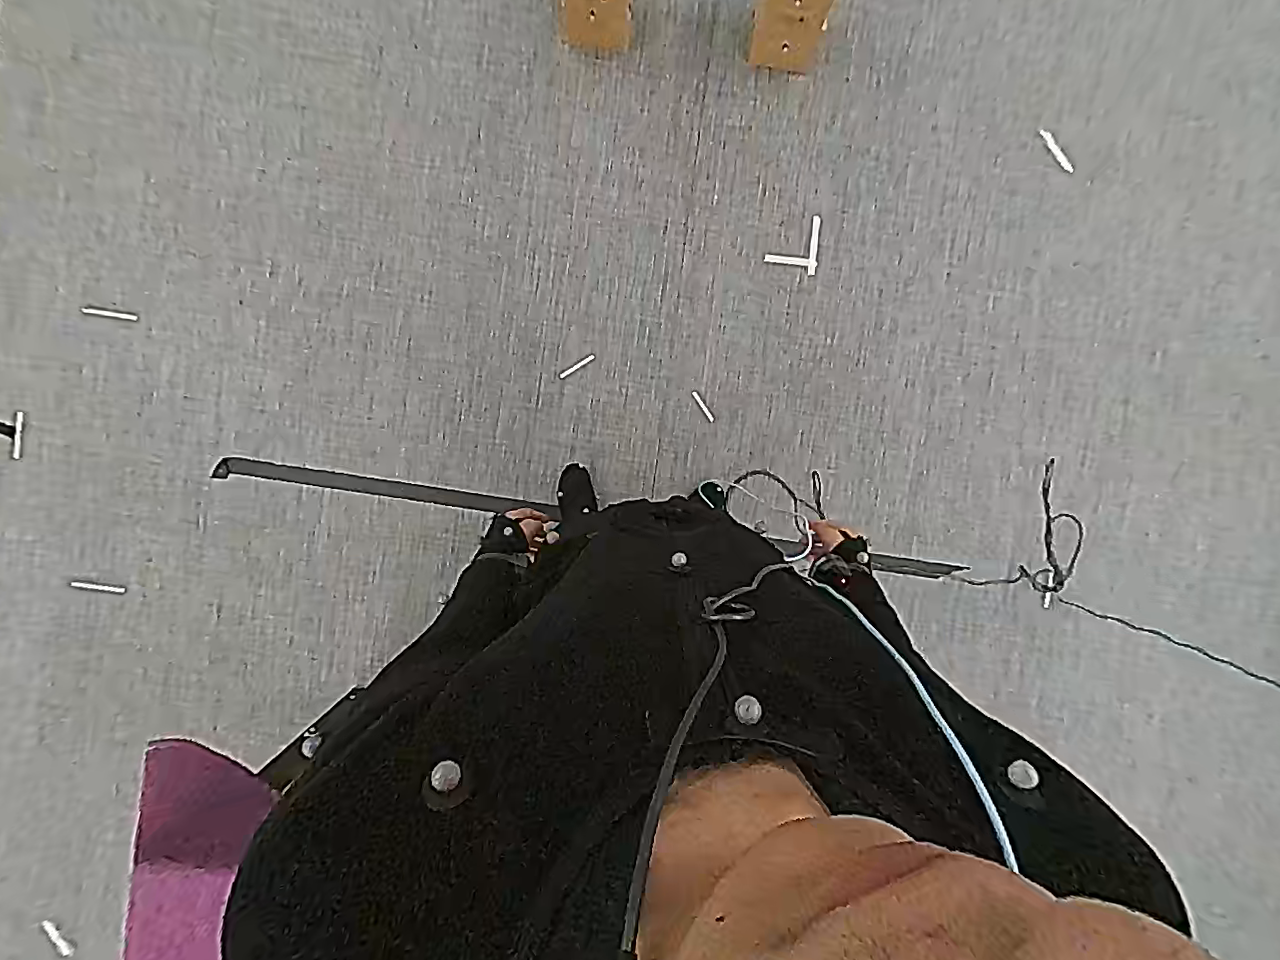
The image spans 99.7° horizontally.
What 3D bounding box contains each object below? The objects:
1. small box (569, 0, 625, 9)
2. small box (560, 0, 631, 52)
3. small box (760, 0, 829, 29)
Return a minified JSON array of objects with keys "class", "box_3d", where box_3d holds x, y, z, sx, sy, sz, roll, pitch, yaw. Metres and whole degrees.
[{"class":"small box","box_3d":[-0.109,-1.330,1.335,0.168,0.176,0.179,7,93,-1]},{"class":"small box","box_3d":[-0.118,-1.335,1.499,0.179,0.176,0.168,6,93,-1]},{"class":"small box","box_3d":[0.408,-1.287,1.351,0.168,0.176,0.179,9,92,-2]}]
